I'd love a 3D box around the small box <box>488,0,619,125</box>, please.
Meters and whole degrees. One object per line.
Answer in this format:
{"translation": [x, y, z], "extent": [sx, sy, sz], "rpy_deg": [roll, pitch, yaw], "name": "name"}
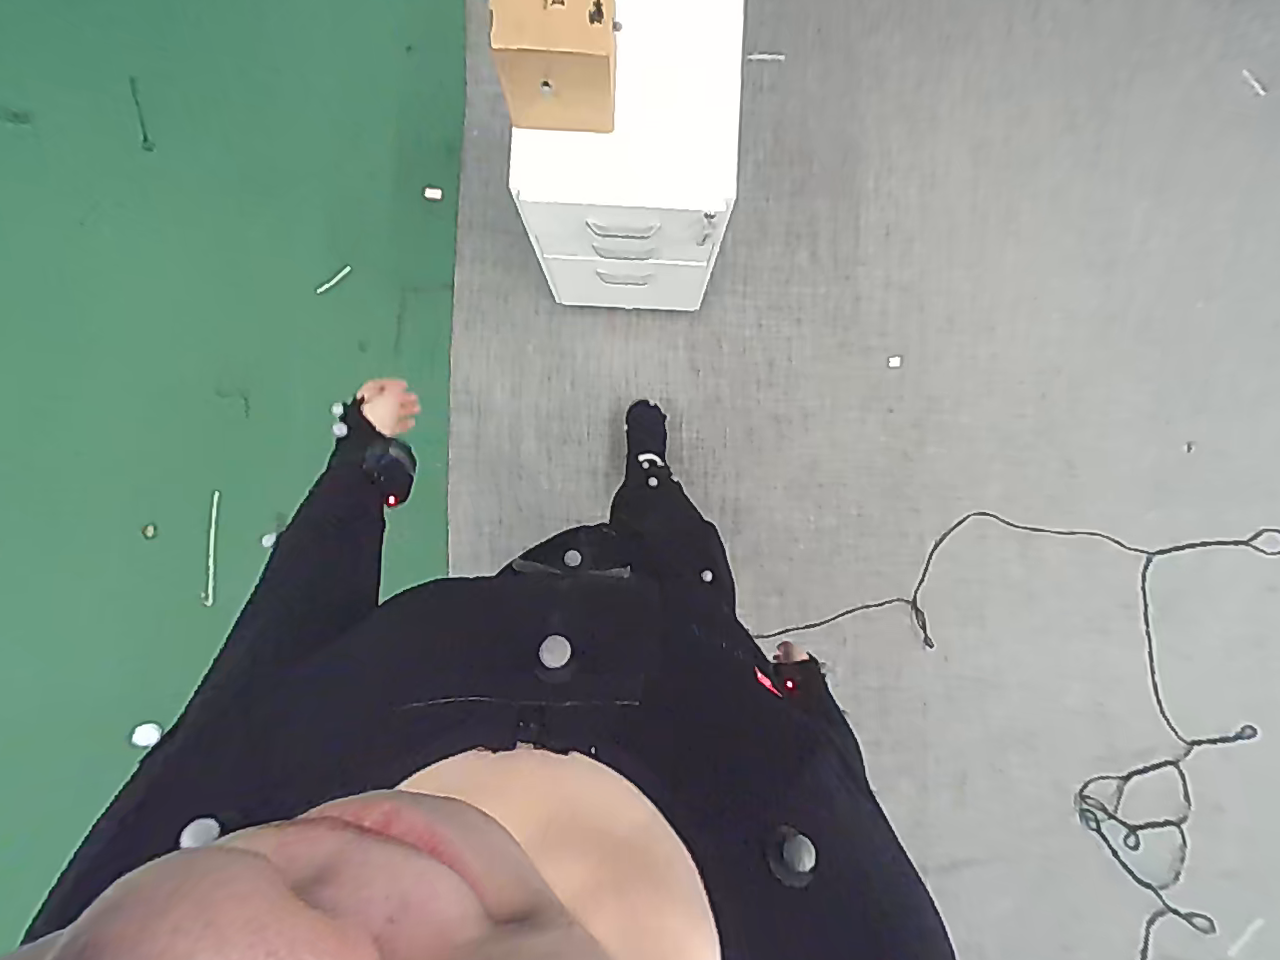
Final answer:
{"translation": [-0.126, -0.694, 0.850], "extent": [0.179, 0.176, 0.168], "rpy_deg": [2, 89, -1], "name": "small box"}
